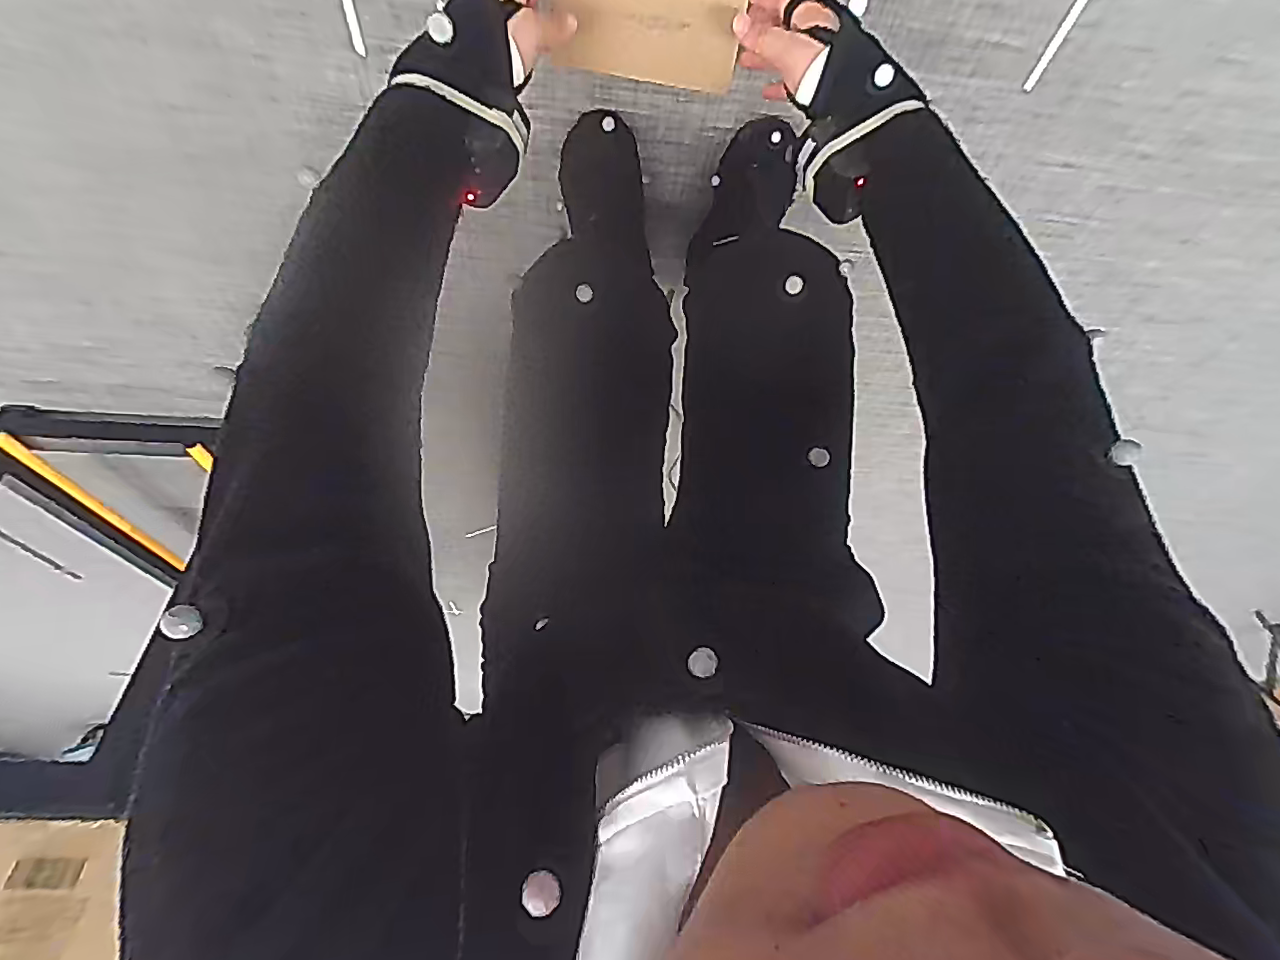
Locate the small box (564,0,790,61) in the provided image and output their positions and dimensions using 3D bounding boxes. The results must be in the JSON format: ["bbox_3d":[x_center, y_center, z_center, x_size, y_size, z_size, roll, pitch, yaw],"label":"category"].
[{"bbox_3d":[0.033,-0.447,0.400,0.168,0.176,0.179,4,137,-7],"label":"small box"}]
